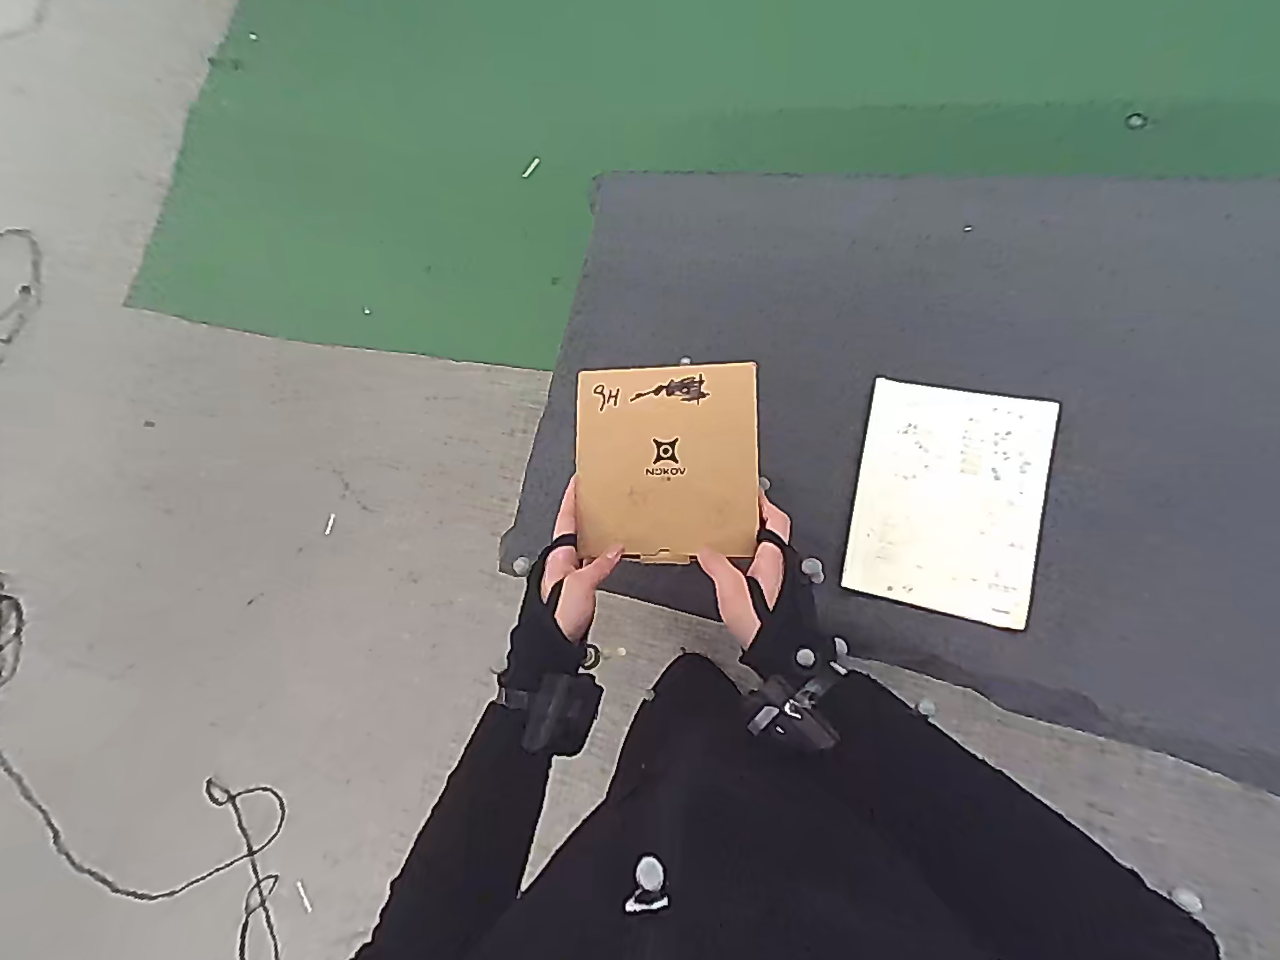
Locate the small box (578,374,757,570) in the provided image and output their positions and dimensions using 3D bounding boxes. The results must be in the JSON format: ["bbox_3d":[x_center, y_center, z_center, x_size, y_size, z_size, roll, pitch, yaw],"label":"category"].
[{"bbox_3d":[0.038,-0.001,0.568,0.168,0.176,0.179,-1,84,10],"label":"small box"}]
